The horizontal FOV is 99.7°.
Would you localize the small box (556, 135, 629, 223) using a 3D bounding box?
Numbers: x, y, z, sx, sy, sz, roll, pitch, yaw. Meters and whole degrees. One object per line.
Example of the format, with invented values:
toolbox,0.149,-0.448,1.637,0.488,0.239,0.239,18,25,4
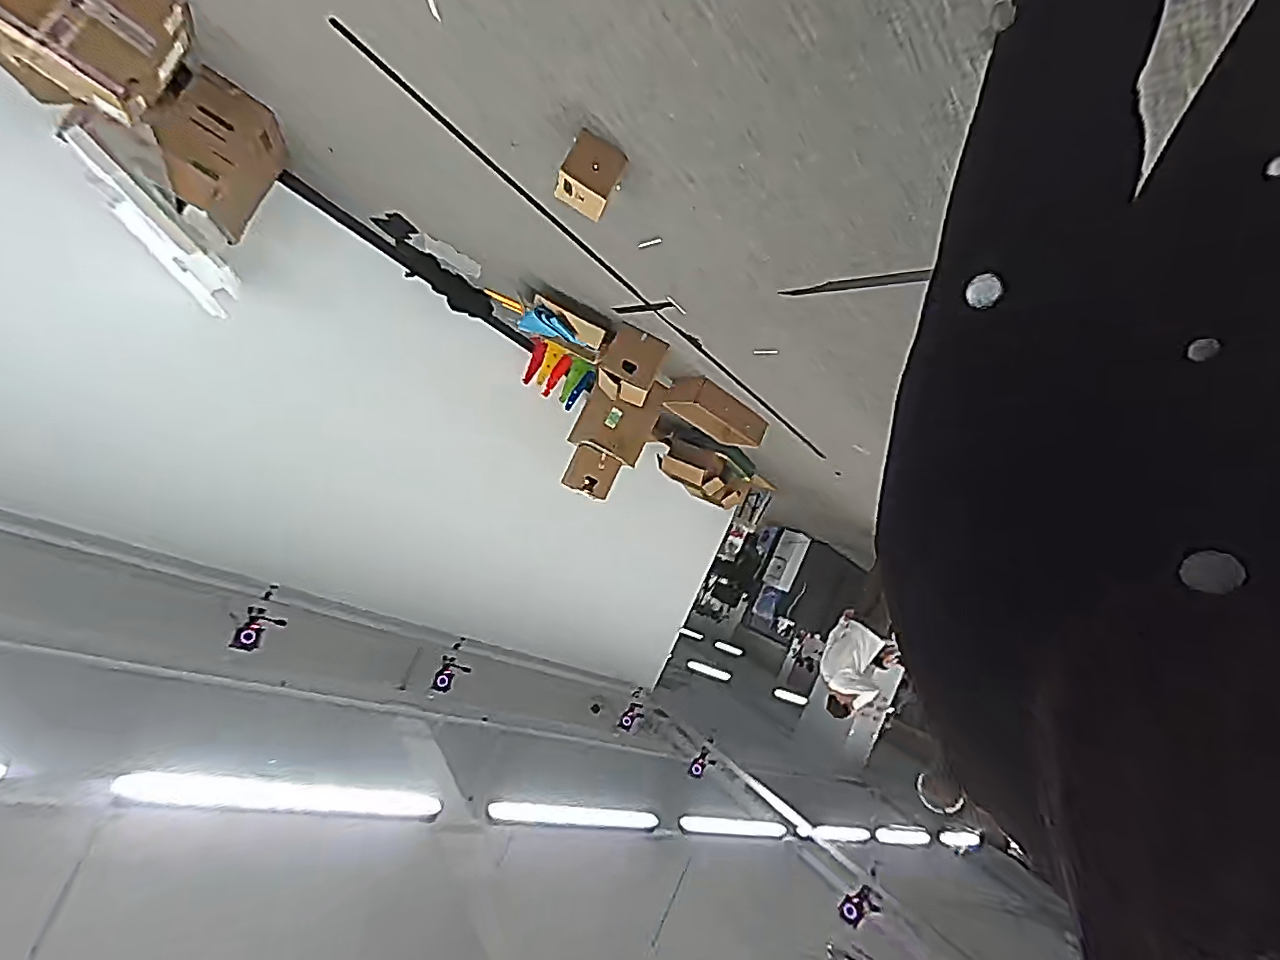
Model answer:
small box,-0.162,-1.024,1.834,0.179,0.176,0.168,27,174,-14
